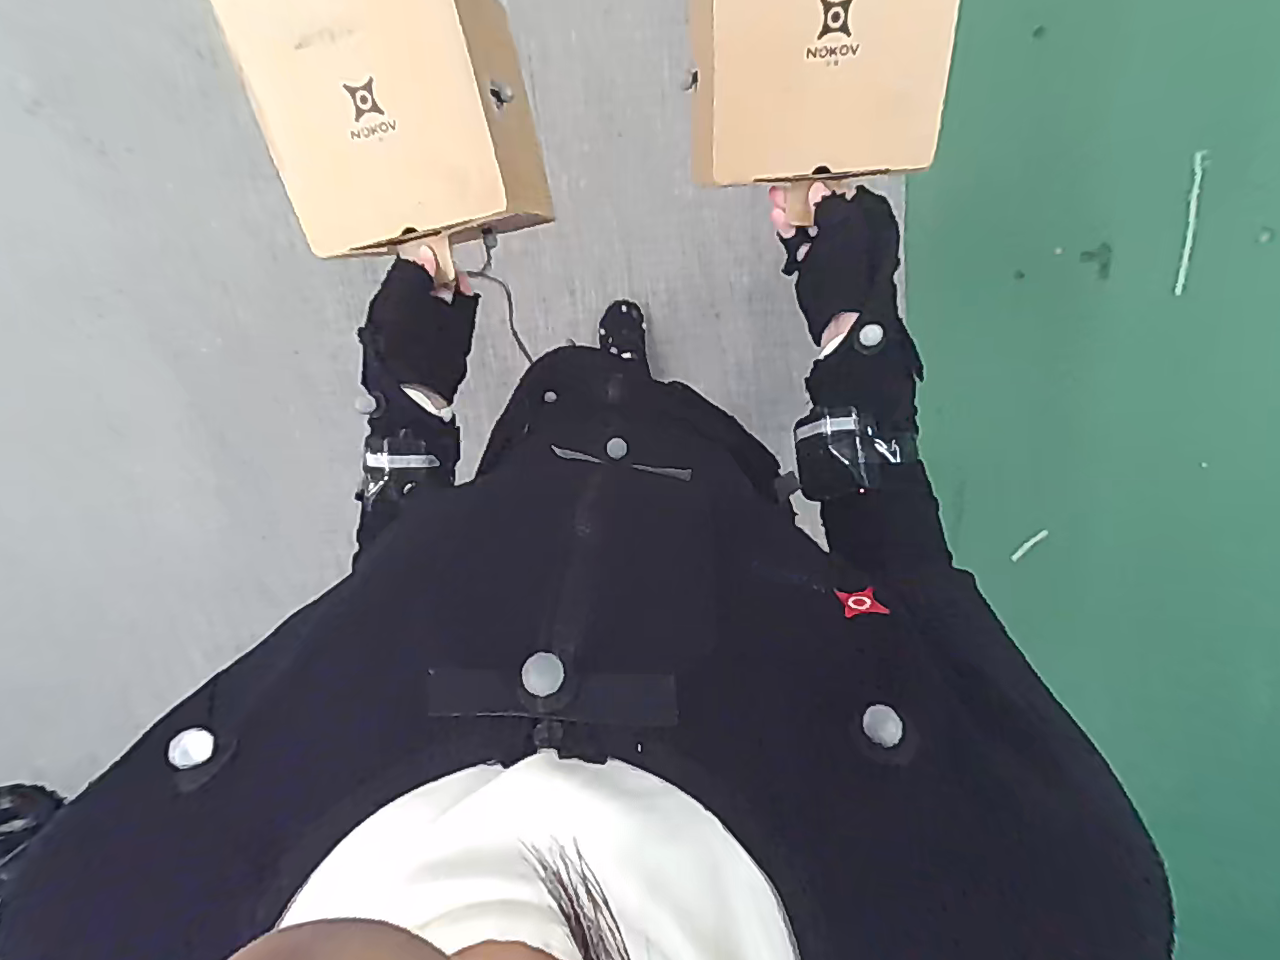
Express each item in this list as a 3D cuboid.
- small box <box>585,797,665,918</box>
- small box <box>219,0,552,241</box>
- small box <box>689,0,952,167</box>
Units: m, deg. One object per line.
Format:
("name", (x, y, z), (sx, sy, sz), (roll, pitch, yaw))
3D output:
("small box", (-0.031, 0.870, 1.260), (0.179, 0.176, 0.168), (0, 101, 0))
("small box", (-0.185, -0.311, 0.452), (0.168, 0.176, 0.179), (-10, 113, 8))
("small box", (0.130, -0.360, 0.438), (0.168, 0.176, 0.179), (-3, 119, 1))
